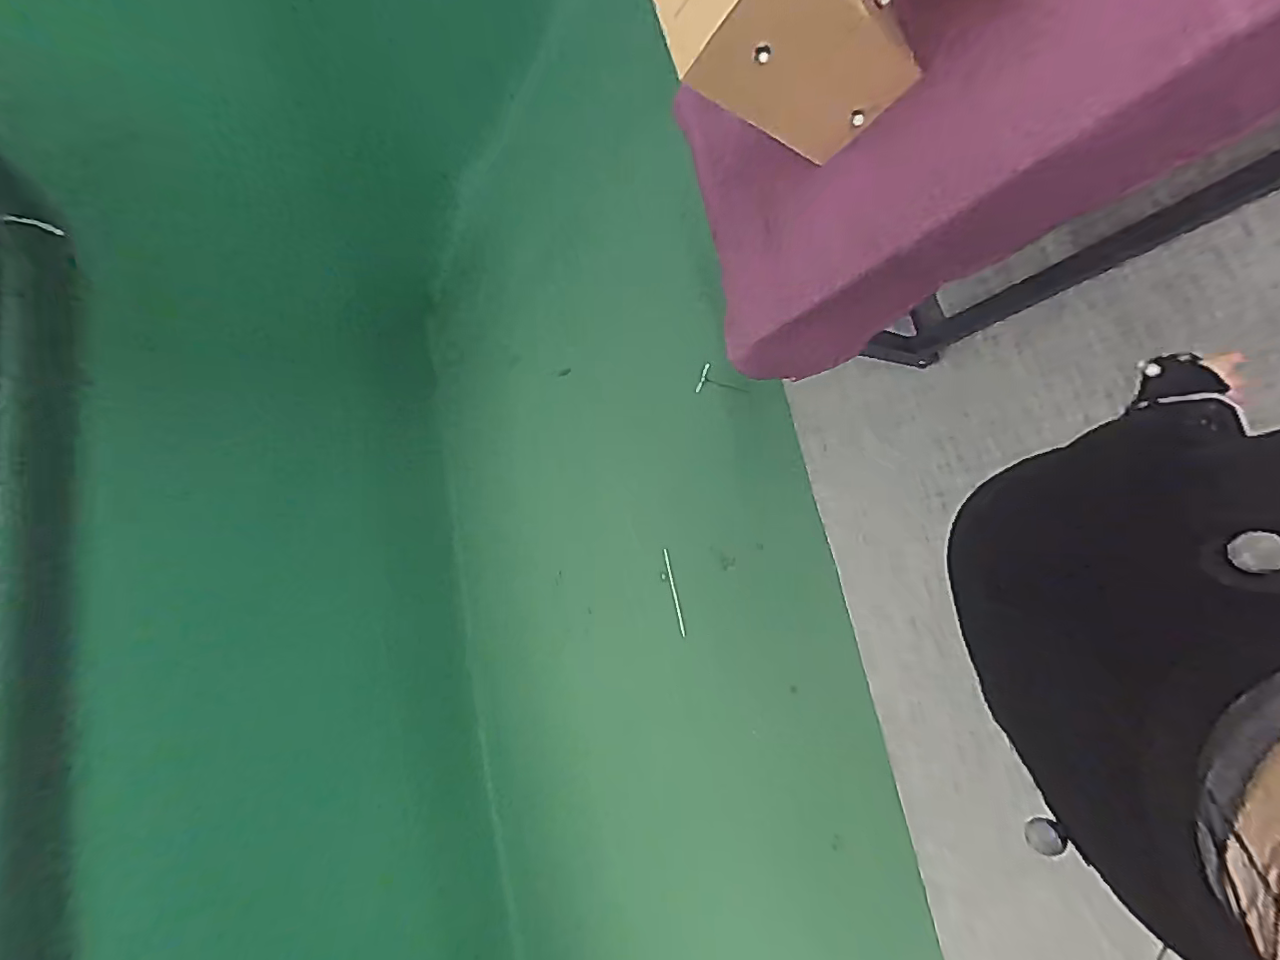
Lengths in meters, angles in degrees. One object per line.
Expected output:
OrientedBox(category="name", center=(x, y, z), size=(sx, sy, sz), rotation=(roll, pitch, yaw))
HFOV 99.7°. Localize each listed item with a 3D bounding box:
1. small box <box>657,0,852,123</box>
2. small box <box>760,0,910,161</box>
OrientedBox(category="small box", center=(0.152, -0.626, 0.710), size=(0.179, 0.176, 0.168), rotation=(-29, 70, 48))
OrientedBox(category="small box", center=(0.278, -0.632, 0.815), size=(0.179, 0.176, 0.168), rotation=(-29, 70, 48))
